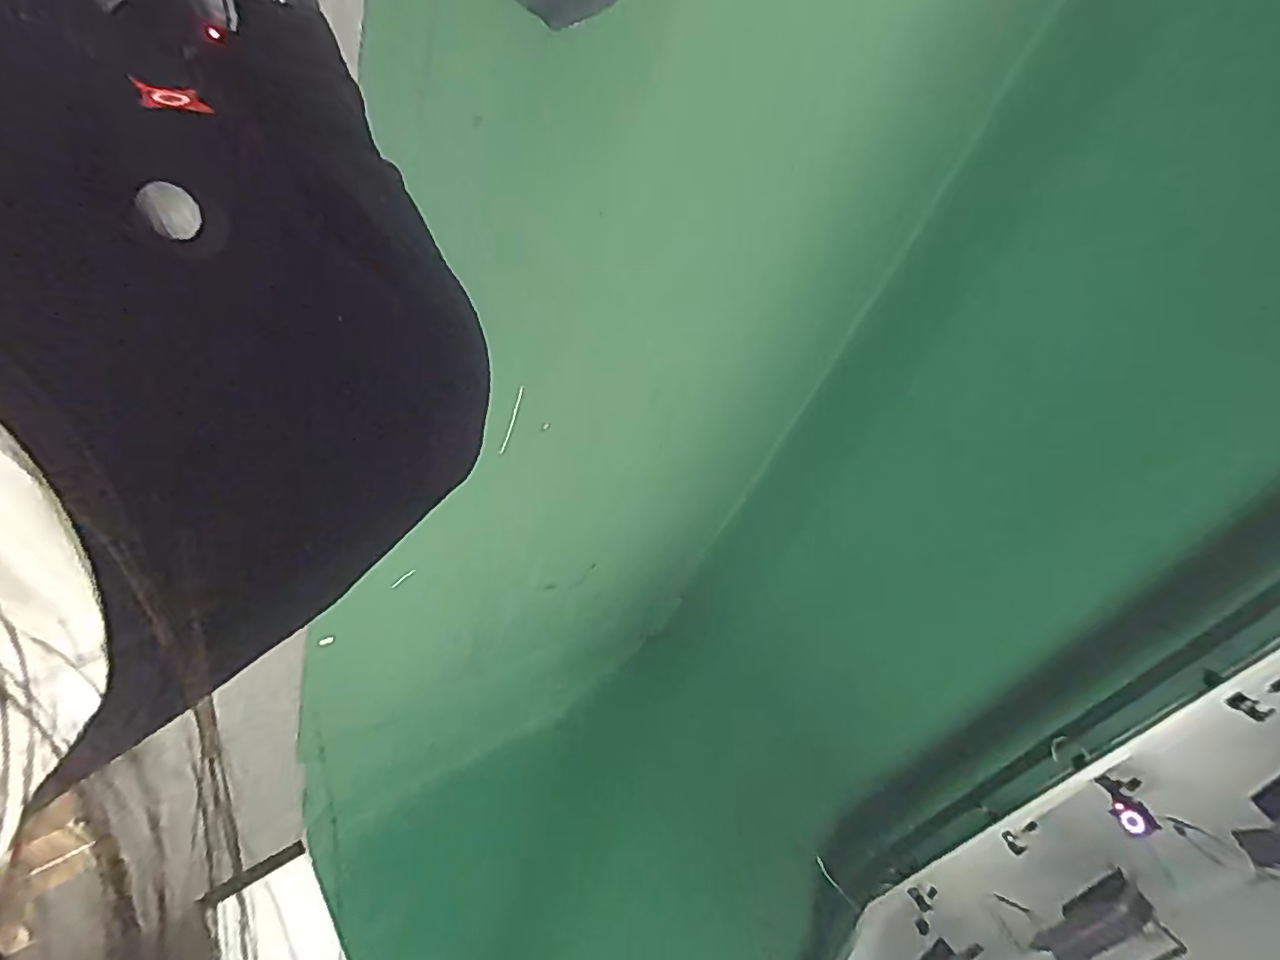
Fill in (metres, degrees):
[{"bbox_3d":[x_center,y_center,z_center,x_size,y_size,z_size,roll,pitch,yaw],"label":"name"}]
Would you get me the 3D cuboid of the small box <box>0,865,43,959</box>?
[{"bbox_3d":[-1.705,1.152,1.400,0.179,0.176,0.168,-16,138,-42],"label":"small box"}]
